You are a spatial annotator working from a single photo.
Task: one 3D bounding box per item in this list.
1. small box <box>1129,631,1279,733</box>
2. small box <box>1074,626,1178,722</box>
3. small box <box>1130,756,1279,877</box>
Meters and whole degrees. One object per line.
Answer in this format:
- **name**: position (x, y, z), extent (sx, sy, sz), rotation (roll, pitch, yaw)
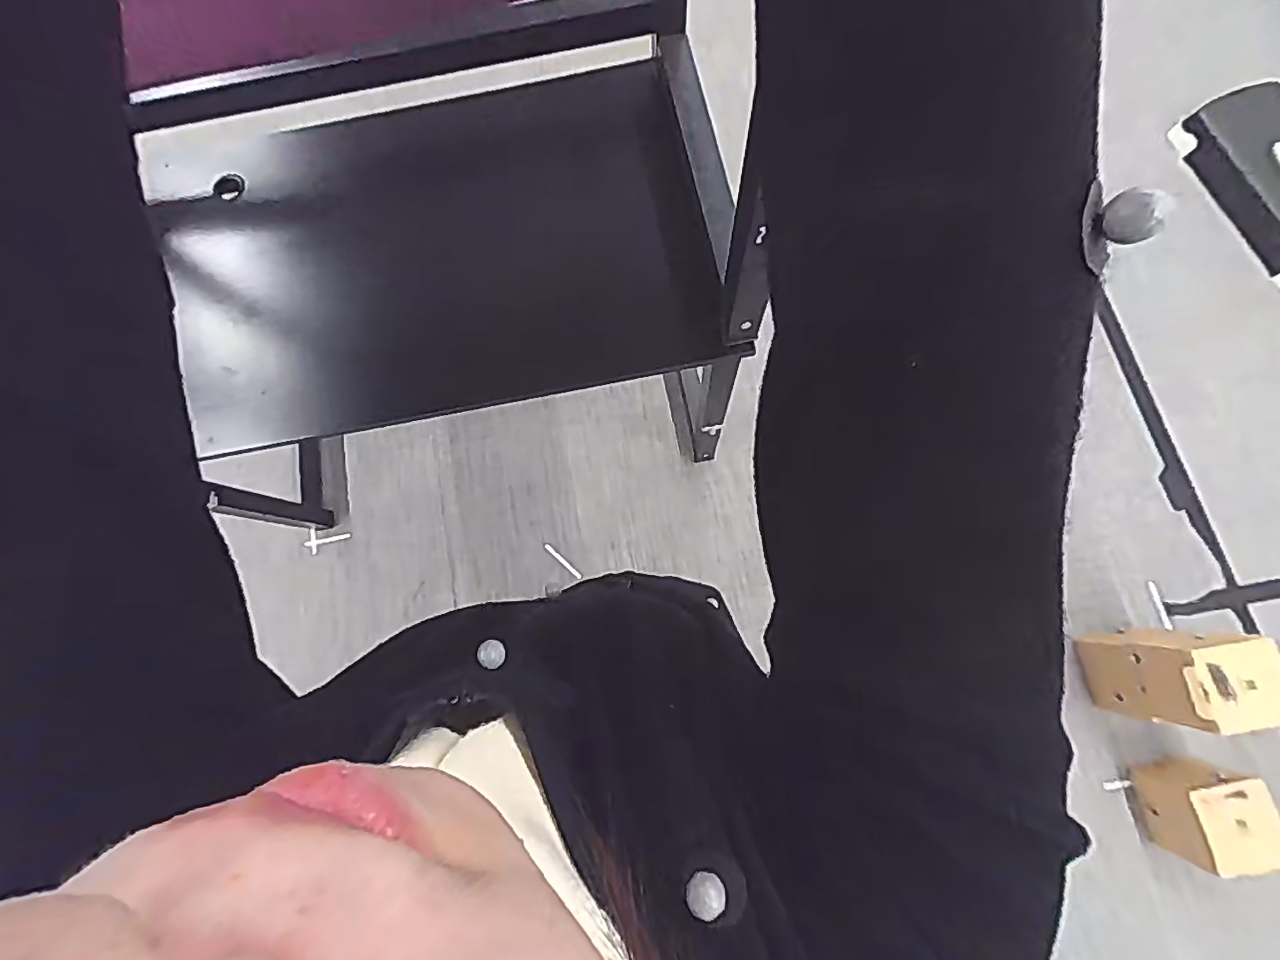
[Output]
- **small box**: position (1.207, 0.423, 1.156), extent (0.179, 0.176, 0.168), rotation (-10, 79, 0)
- **small box**: position (1.220, 0.464, 1.314), extent (0.168, 0.176, 0.179), rotation (-13, 78, 0)
- **small box**: position (1.302, 0.767, 1.248), extent (0.168, 0.176, 0.179), rotation (-11, 79, 0)
